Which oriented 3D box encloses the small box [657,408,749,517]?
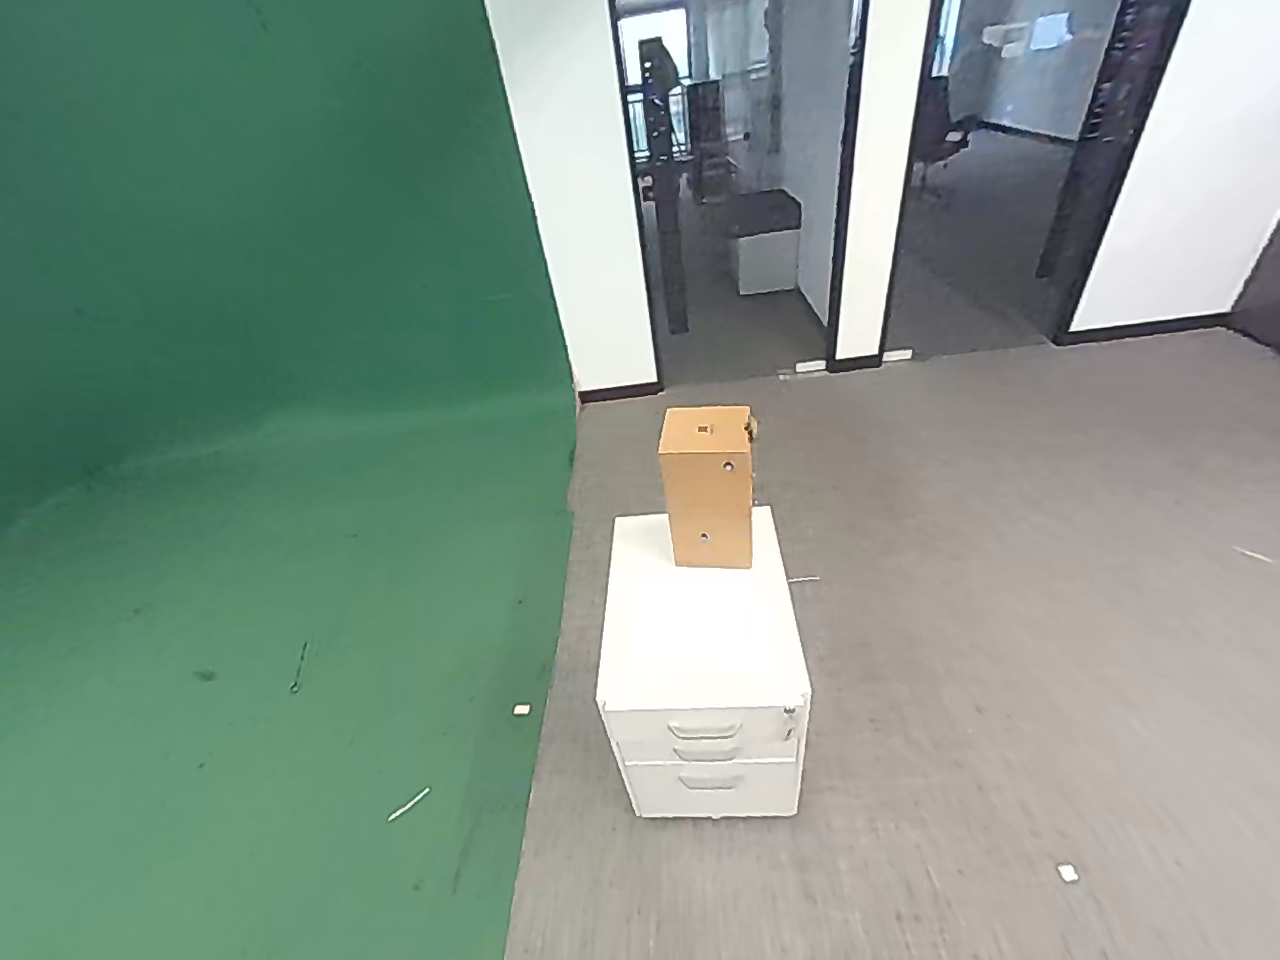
[{"bbox_3d":[0.139,-0.035,1.136,0.179,0.176,0.168,0,39,11],"label":"small box"}]

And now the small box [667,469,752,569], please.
[{"bbox_3d":[0.166,0.089,1.238,0.179,0.176,0.168,0,39,12],"label":"small box"}]
